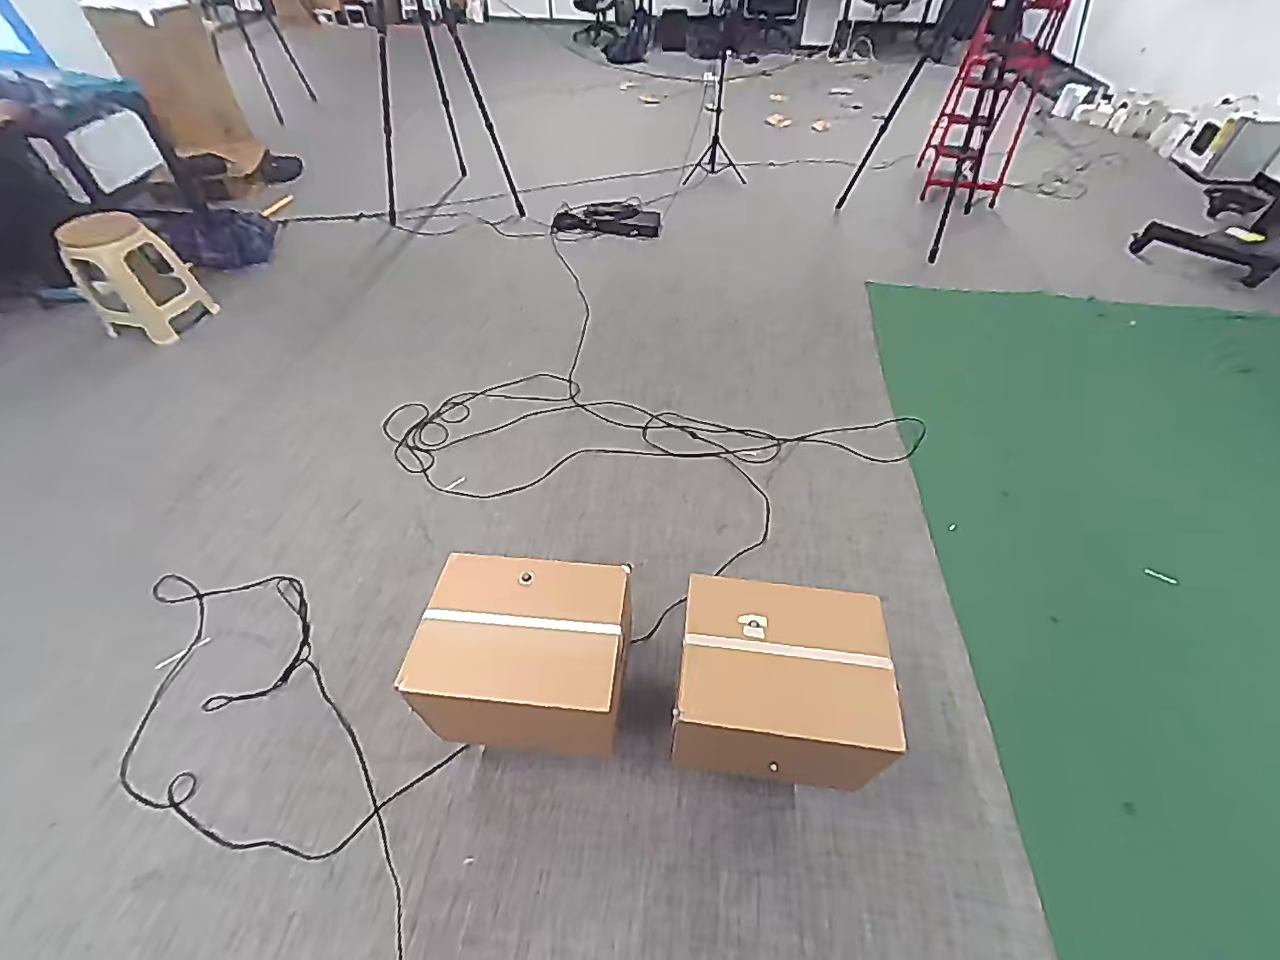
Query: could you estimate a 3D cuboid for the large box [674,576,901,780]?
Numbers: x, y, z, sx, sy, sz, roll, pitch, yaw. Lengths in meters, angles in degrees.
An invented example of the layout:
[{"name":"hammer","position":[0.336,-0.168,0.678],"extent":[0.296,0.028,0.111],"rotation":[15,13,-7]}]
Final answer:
[{"name":"large box","position":[0.293,0.439,1.188],"extent":[0.408,0.320,0.320],"rotation":[6,49,6]}]
